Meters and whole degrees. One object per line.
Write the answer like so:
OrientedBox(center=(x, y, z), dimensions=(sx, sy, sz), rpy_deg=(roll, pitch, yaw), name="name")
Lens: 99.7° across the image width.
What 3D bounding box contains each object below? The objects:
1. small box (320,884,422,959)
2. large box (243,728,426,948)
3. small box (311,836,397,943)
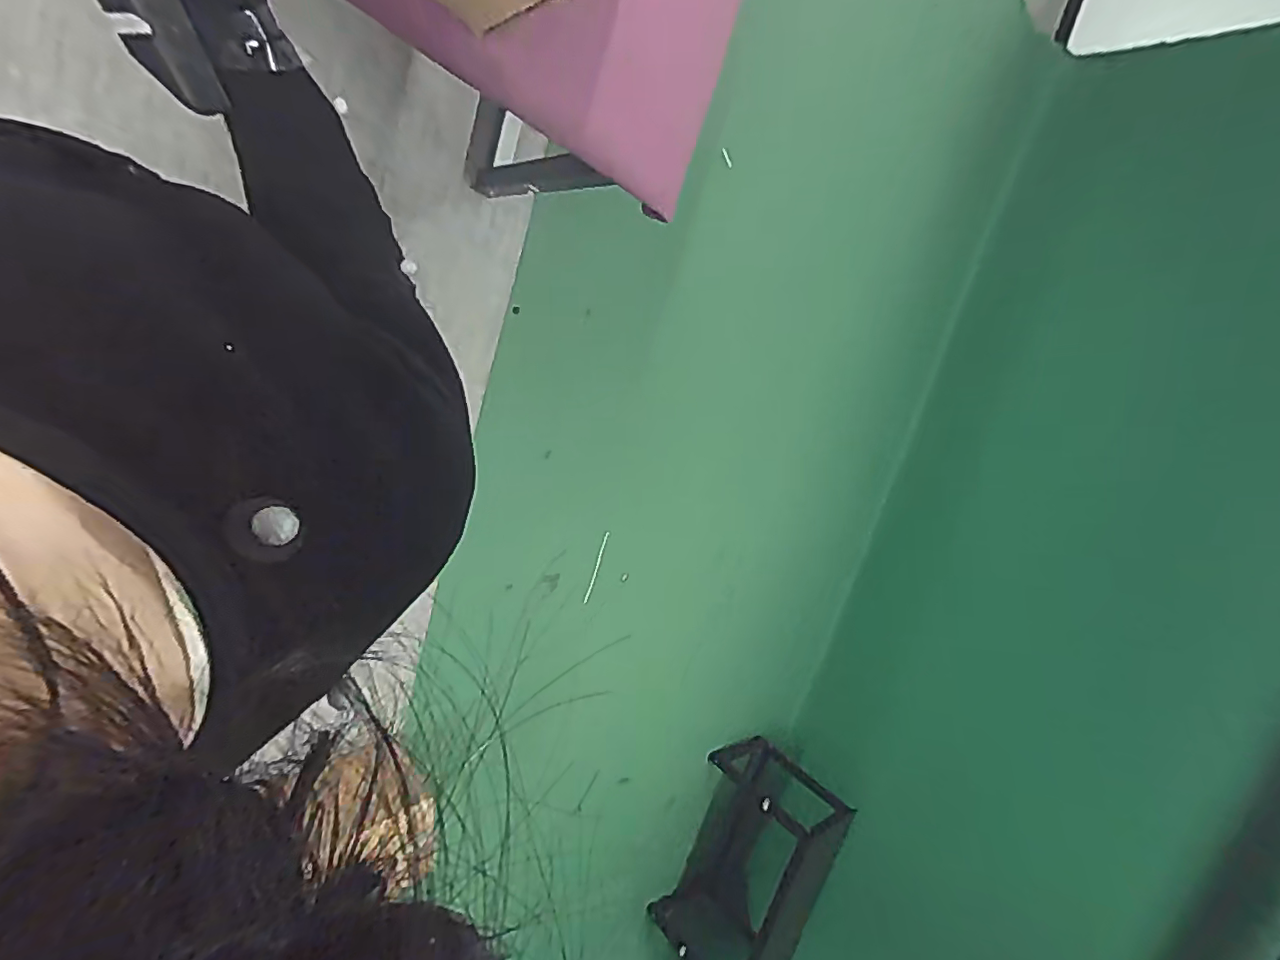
OrientedBox(center=(-0.660, 1.152, 1.324), dimensions=(0.179, 0.176, 0.168), rpy_deg=(-2, 110, -43), name="small box")
OrientedBox(center=(-0.909, 1.040, 1.629), dimensions=(0.408, 0.320, 0.320), rpy_deg=(-11, 117, -42), name="large box")
OrientedBox(center=(-0.762, 1.094, 1.435), dimensions=(0.168, 0.176, 0.179), rpy_deg=(-3, 111, -43), name="small box")
